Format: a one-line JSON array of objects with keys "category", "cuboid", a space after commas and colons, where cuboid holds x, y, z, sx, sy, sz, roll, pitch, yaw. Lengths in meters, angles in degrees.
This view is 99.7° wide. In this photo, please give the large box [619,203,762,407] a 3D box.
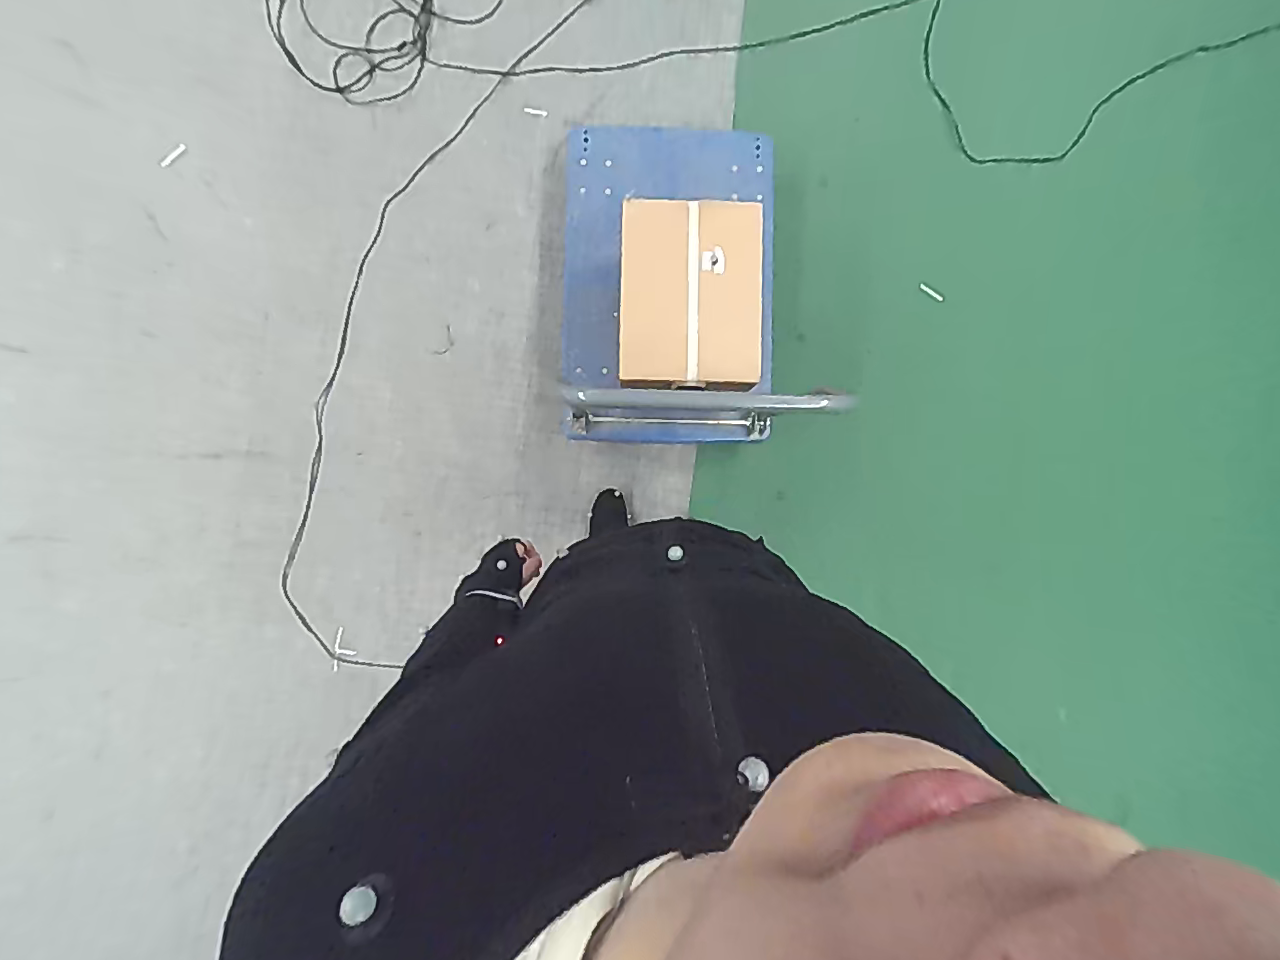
[{"category": "large box", "cuboid": [0.108, -0.404, 1.336, 0.320, 0.320, 0.408, 1, 87, -3]}]
